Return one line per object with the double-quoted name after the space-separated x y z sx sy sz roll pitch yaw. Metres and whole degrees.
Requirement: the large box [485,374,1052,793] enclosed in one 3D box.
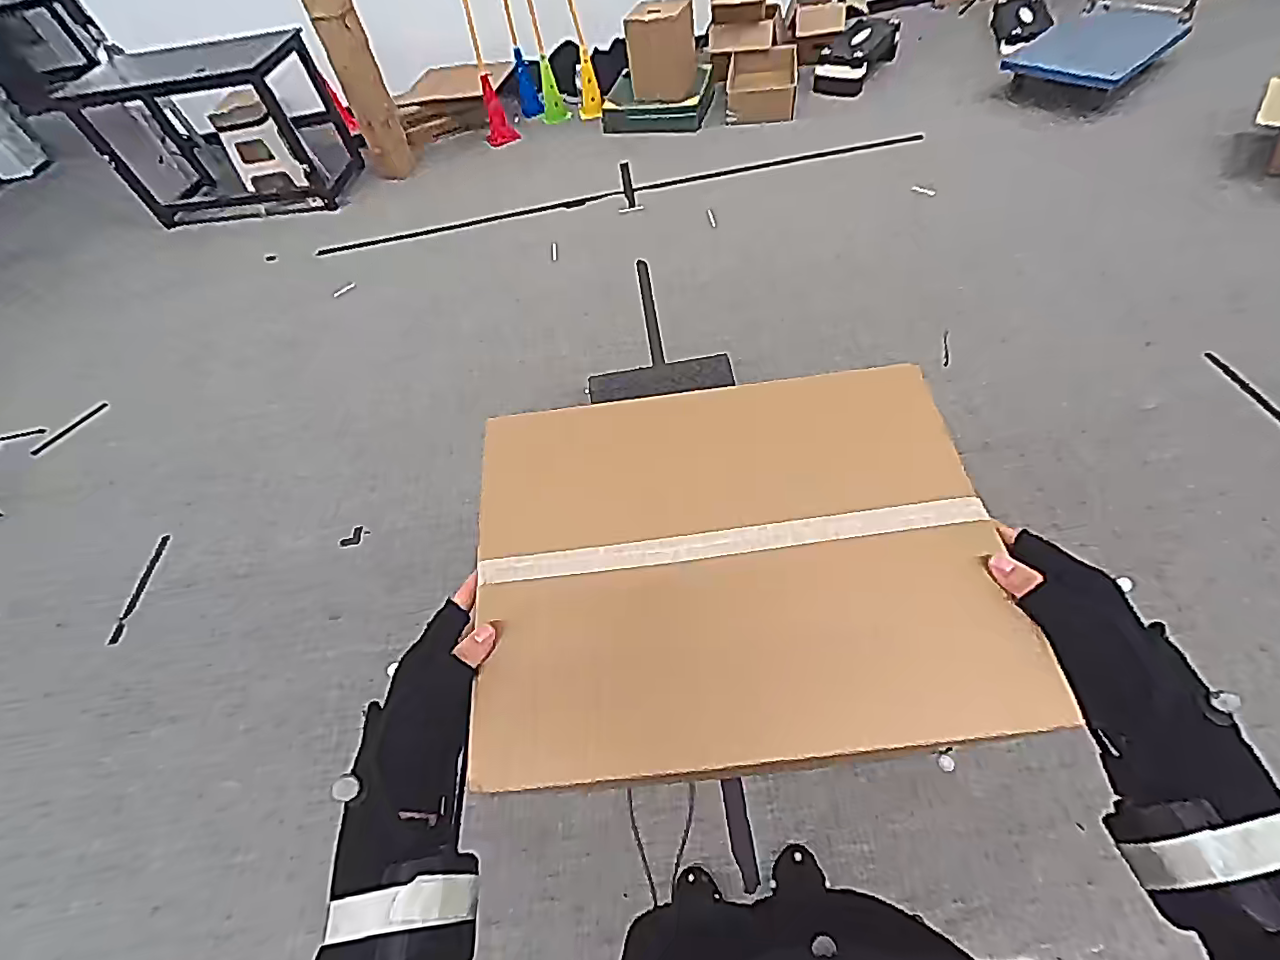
0.087 0.129 0.574 0.408 0.320 0.320 -8 59 2 "large box"
